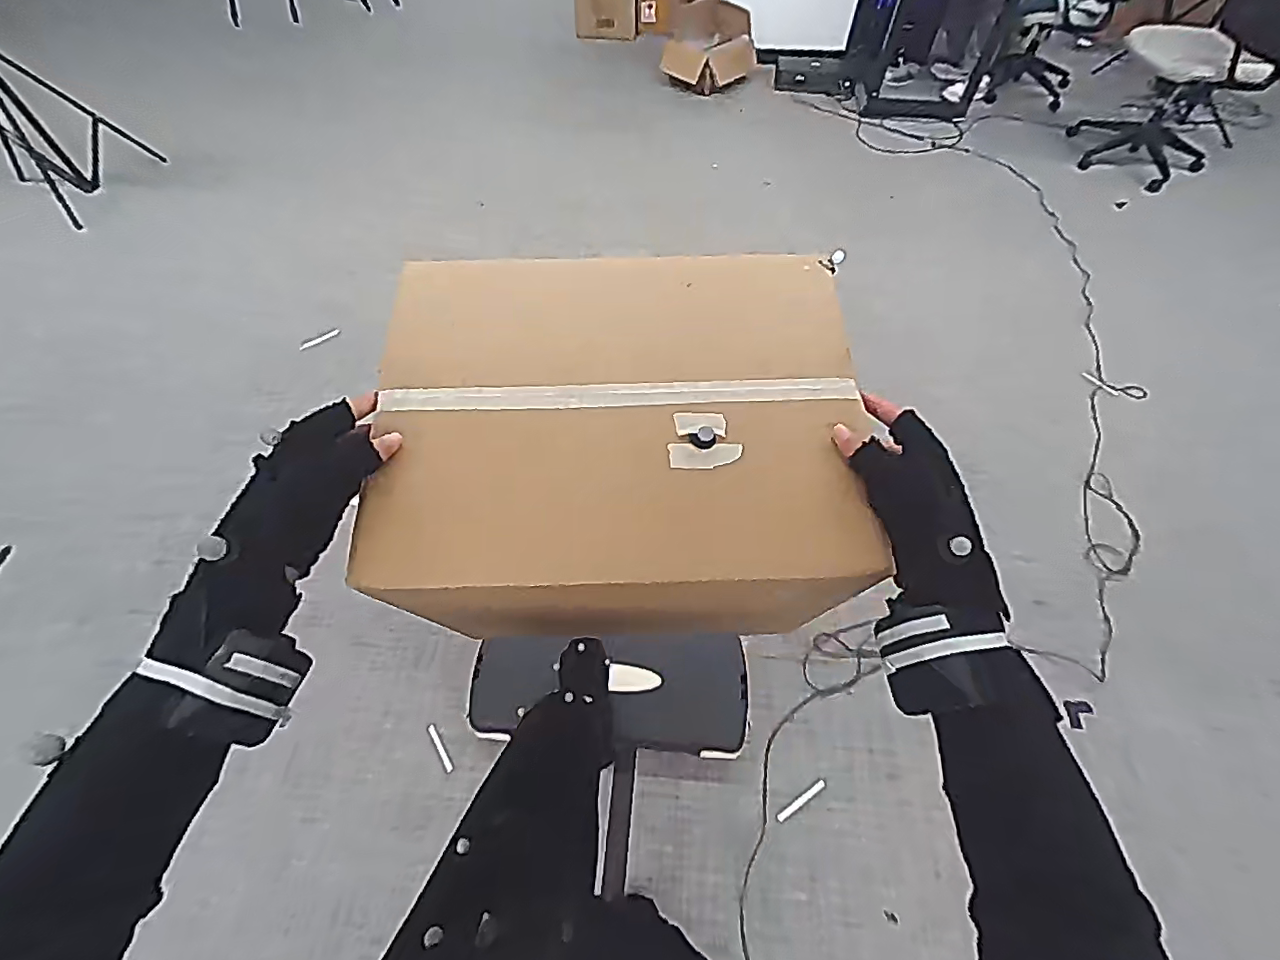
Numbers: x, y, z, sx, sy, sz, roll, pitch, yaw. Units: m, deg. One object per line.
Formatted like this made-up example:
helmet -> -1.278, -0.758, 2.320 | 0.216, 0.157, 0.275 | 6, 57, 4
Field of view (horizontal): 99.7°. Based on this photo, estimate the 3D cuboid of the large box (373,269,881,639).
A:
large box -> -0.016, -0.005, 0.611 | 0.408, 0.320, 0.320 | -1, 67, -1
